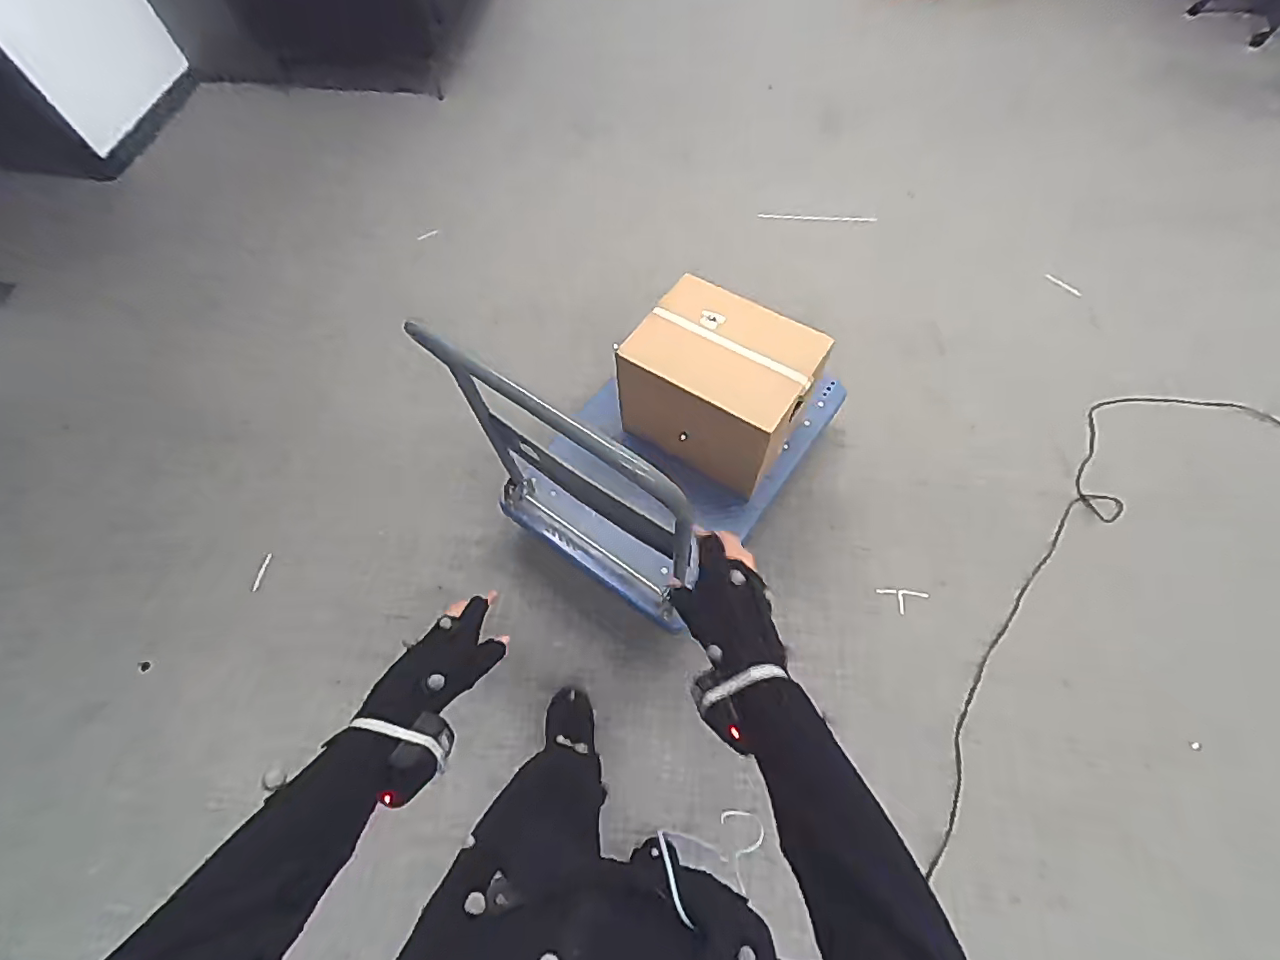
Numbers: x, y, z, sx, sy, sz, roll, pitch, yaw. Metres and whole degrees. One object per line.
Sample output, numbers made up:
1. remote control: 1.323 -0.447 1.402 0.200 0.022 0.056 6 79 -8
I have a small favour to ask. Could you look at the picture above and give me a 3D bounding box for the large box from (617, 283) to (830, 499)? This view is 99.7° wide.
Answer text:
1. large box: 0.199 -0.219 1.373 0.408 0.320 0.320 31 65 17
